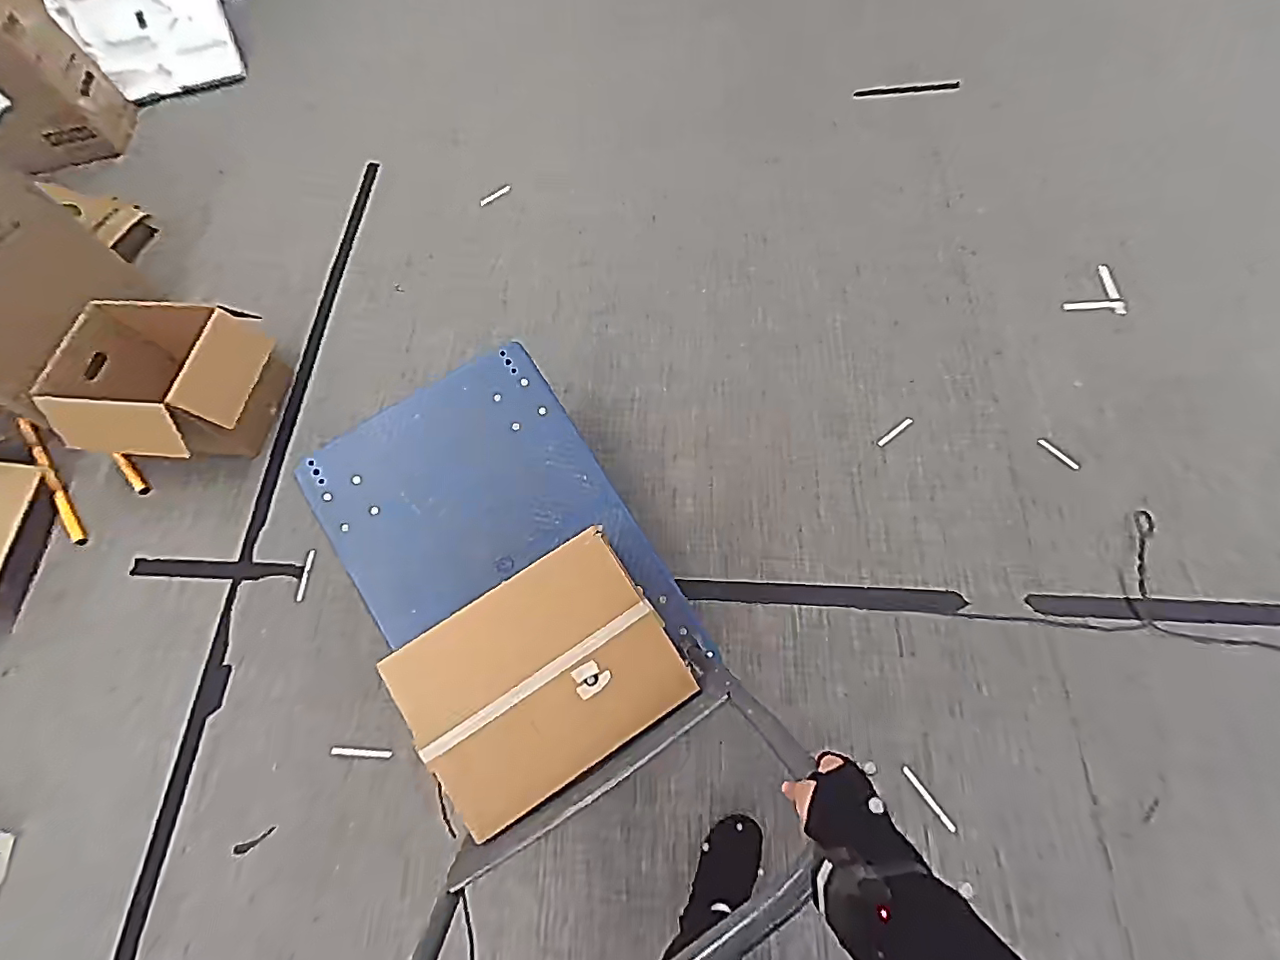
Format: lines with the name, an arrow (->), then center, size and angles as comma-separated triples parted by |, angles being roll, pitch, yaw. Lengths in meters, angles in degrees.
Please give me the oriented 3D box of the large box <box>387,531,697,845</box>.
large box -> -0.161, 0.344, 0.997 | 0.408, 0.320, 0.320 | -33, 84, -9
